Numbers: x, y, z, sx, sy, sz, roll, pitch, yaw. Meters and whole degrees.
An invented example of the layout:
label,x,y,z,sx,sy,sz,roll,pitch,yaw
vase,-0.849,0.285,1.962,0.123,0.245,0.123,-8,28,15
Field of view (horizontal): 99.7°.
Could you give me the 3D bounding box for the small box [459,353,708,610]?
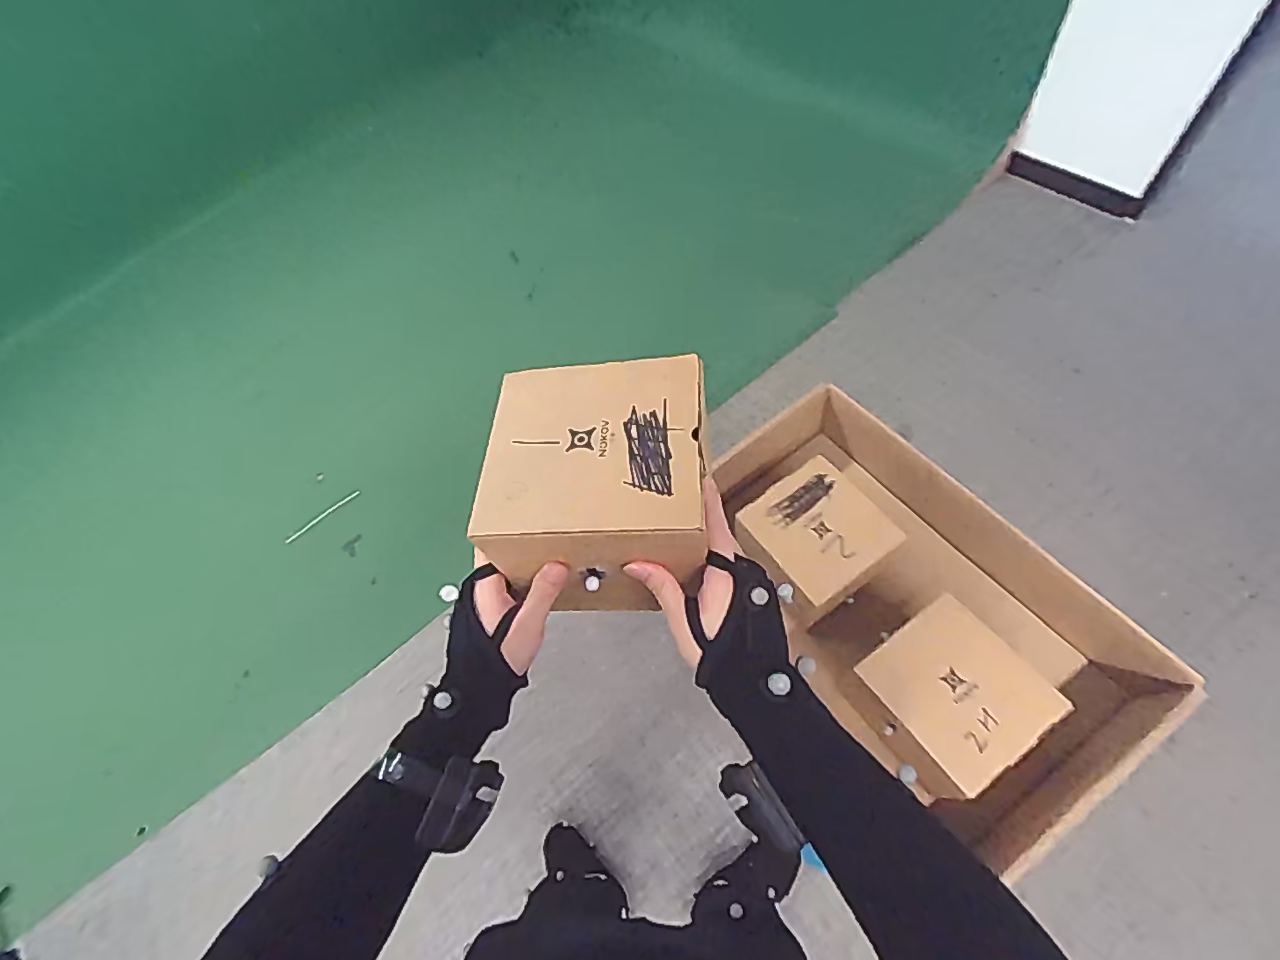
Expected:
label,x,y,z,sx,sy,sz,roll,pitch,yaw
small box,-0.030,0.011,0.486,0.179,0.176,0.168,-4,56,10
